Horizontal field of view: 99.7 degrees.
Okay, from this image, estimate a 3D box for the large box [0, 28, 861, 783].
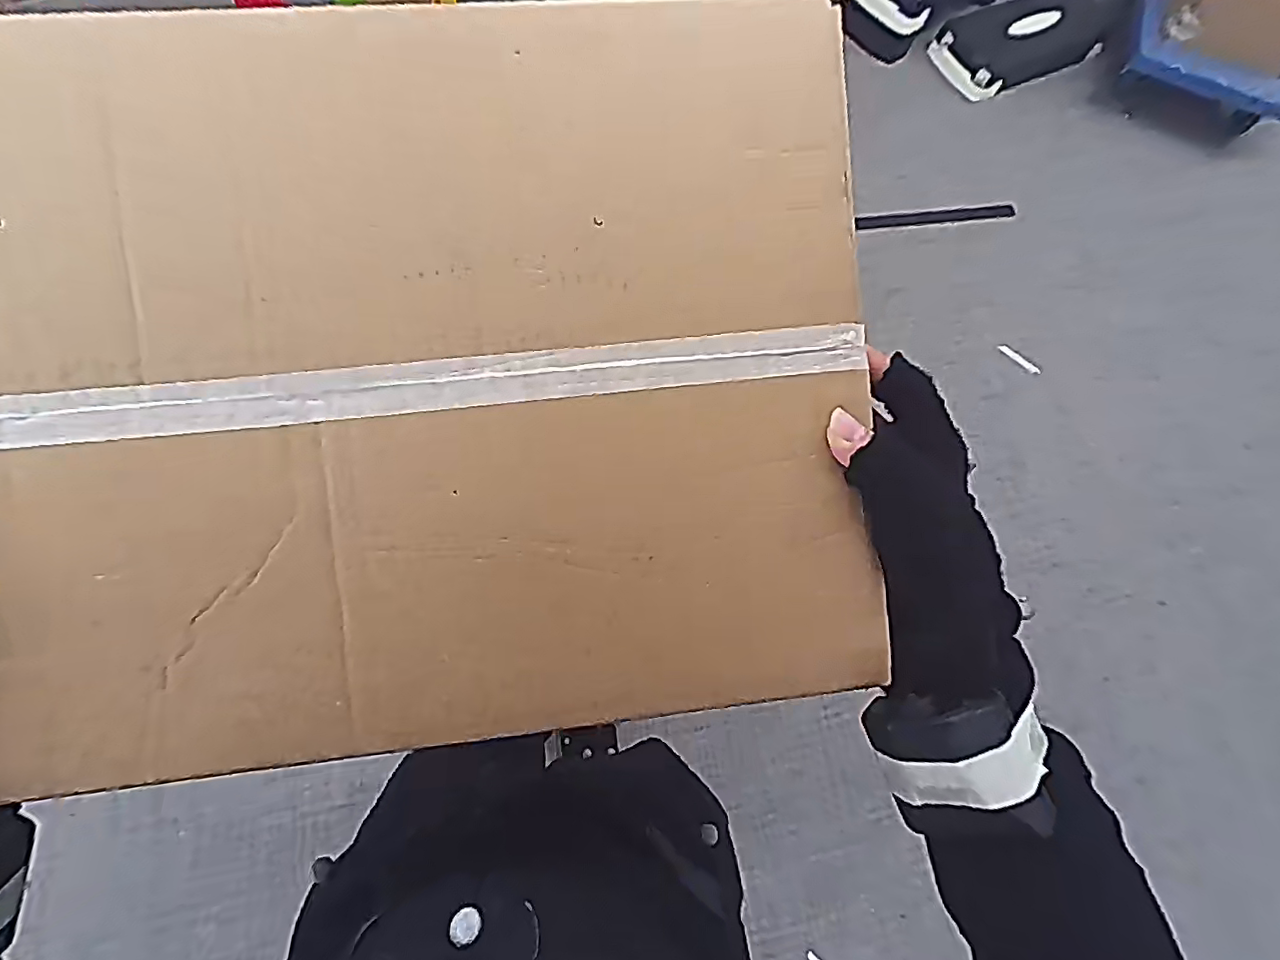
[{"bbox_3d":[-0.112,-0.046,0.392,0.408,0.320,0.320,-5,92,-5],"label":"large box"}]
